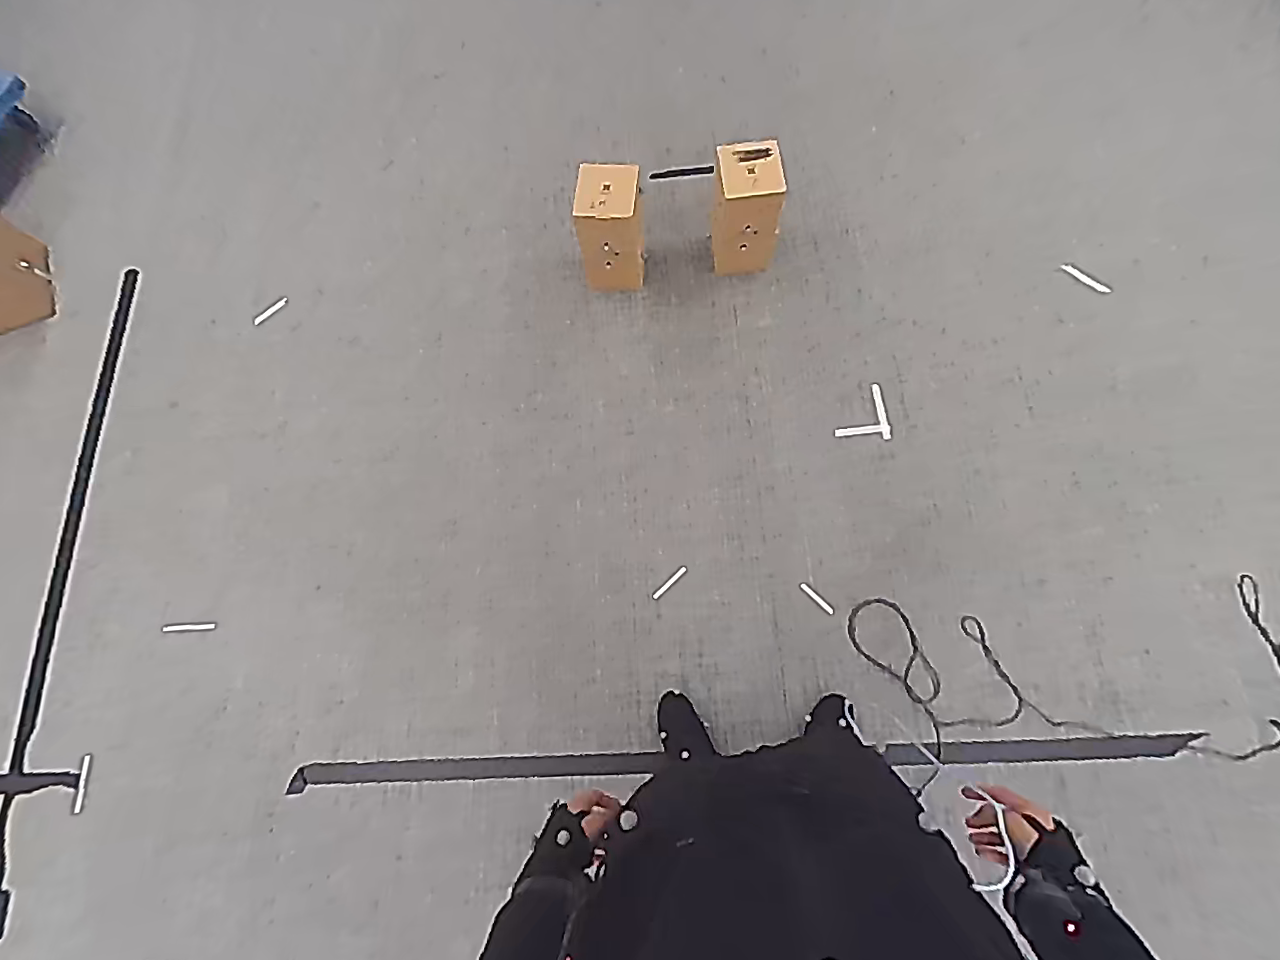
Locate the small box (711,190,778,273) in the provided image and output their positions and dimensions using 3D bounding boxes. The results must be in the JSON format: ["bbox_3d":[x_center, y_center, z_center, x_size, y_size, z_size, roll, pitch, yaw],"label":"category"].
[{"bbox_3d":[0.318,-0.766,1.684,0.179,0.176,0.168,-5,75,1],"label":"small box"}]

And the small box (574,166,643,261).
[{"bbox_3d":[-0.084,-0.755,1.536,0.168,0.176,0.179,5,75,6],"label":"small box"}]

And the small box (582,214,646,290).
[{"bbox_3d":[-0.074,-0.714,1.696,0.179,0.176,0.168,3,75,5],"label":"small box"}]
